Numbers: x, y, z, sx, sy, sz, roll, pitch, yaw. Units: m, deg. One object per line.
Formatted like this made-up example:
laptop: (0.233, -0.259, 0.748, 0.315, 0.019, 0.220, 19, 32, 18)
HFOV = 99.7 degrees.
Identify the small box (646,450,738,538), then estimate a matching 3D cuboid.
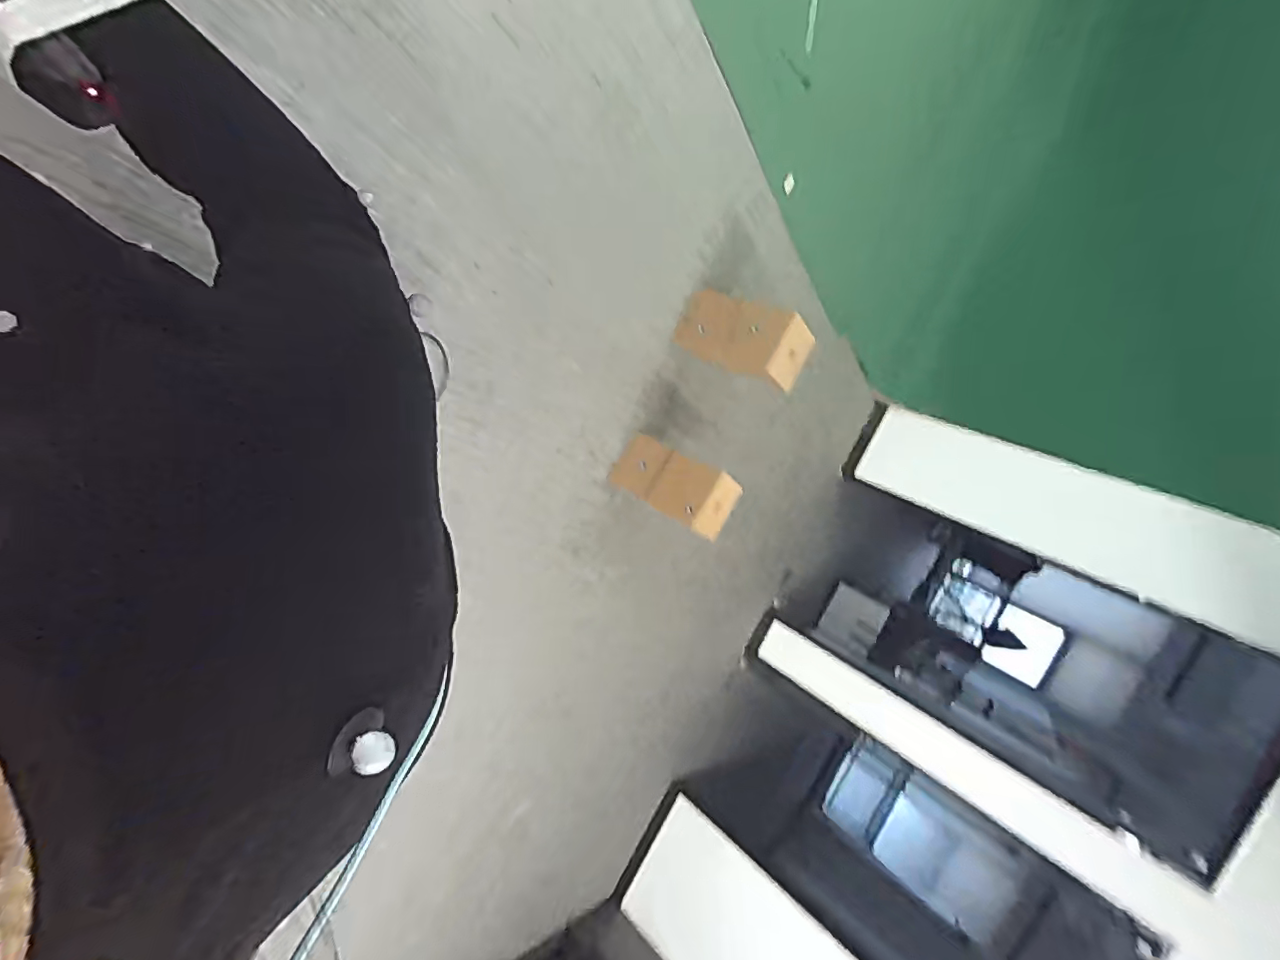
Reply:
small box: (0.145, 0.037, 1.532, 0.179, 0.176, 0.168, -60, 146, -1)

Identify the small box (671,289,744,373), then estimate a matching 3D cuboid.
small box: (0.218, -0.436, 1.572, 0.179, 0.176, 0.168, 22, 97, -56)

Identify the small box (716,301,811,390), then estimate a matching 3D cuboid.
small box: (0.334, -0.371, 1.476, 0.179, 0.176, 0.168, 20, 99, -55)
